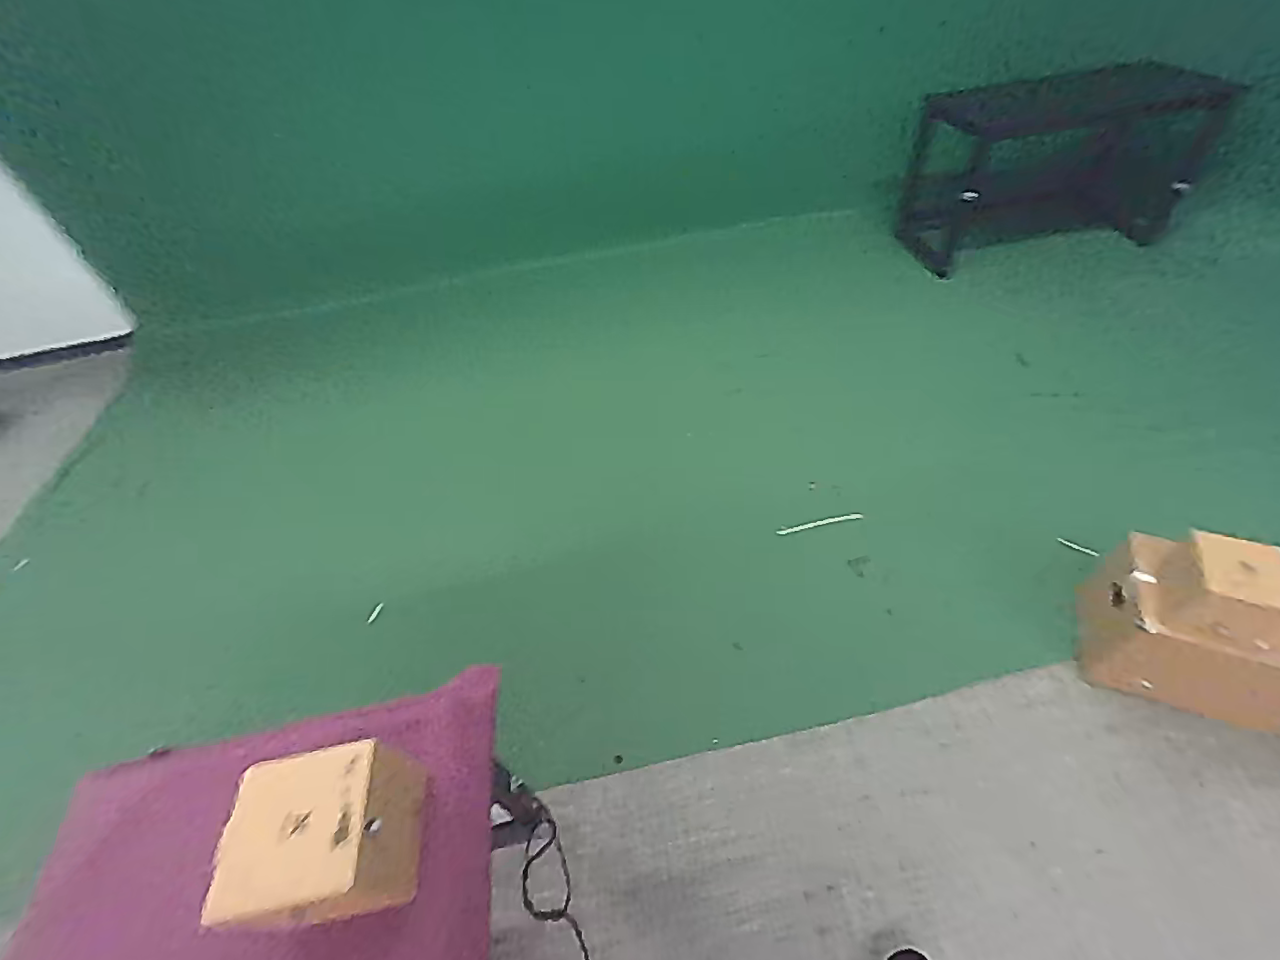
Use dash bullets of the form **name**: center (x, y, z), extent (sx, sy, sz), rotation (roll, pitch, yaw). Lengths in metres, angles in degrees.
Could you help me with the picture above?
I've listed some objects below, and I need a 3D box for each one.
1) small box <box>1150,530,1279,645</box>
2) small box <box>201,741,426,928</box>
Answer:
- **small box**: center (1.335, 0.250, 1.252), extent (0.168, 0.176, 0.179), rotation (14, 53, 20)
- **small box**: center (-0.411, 0.472, 0.717), extent (0.179, 0.176, 0.168), rotation (-13, 49, -1)
